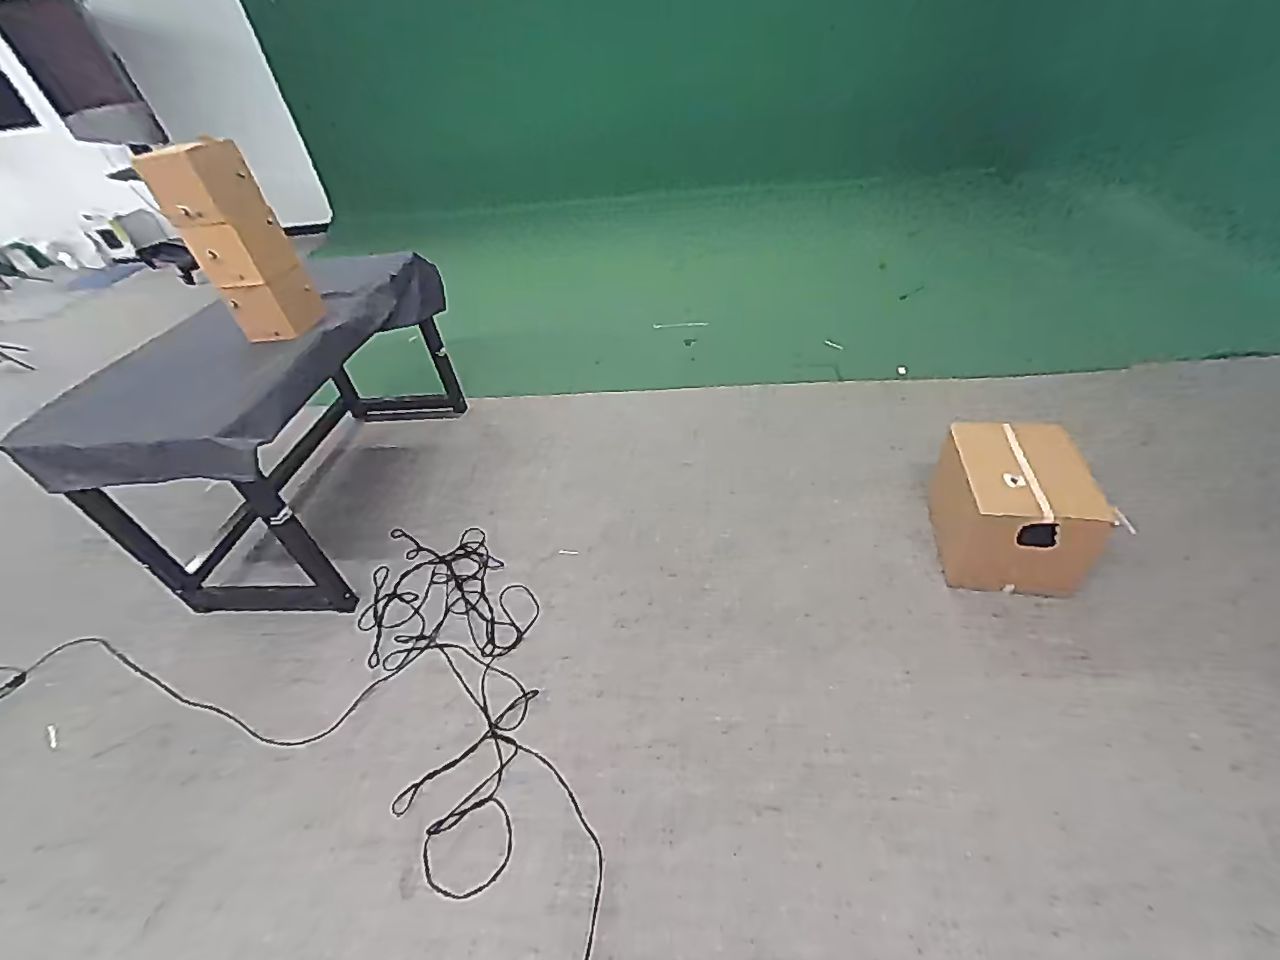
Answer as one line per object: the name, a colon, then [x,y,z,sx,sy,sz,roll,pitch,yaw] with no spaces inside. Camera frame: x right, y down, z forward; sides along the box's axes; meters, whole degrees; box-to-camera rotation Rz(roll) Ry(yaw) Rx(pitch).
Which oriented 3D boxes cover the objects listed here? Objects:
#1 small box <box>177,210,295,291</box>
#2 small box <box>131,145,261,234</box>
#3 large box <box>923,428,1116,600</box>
small box: [-1.127,-0.643,1.529,0.168,0.176,0.179,-2,40,8]
small box: [-1.150,-0.764,1.424,0.168,0.176,0.179,-2,41,9]
large box: [1.075,0.090,1.602,0.320,0.320,0.408,3,43,13]
